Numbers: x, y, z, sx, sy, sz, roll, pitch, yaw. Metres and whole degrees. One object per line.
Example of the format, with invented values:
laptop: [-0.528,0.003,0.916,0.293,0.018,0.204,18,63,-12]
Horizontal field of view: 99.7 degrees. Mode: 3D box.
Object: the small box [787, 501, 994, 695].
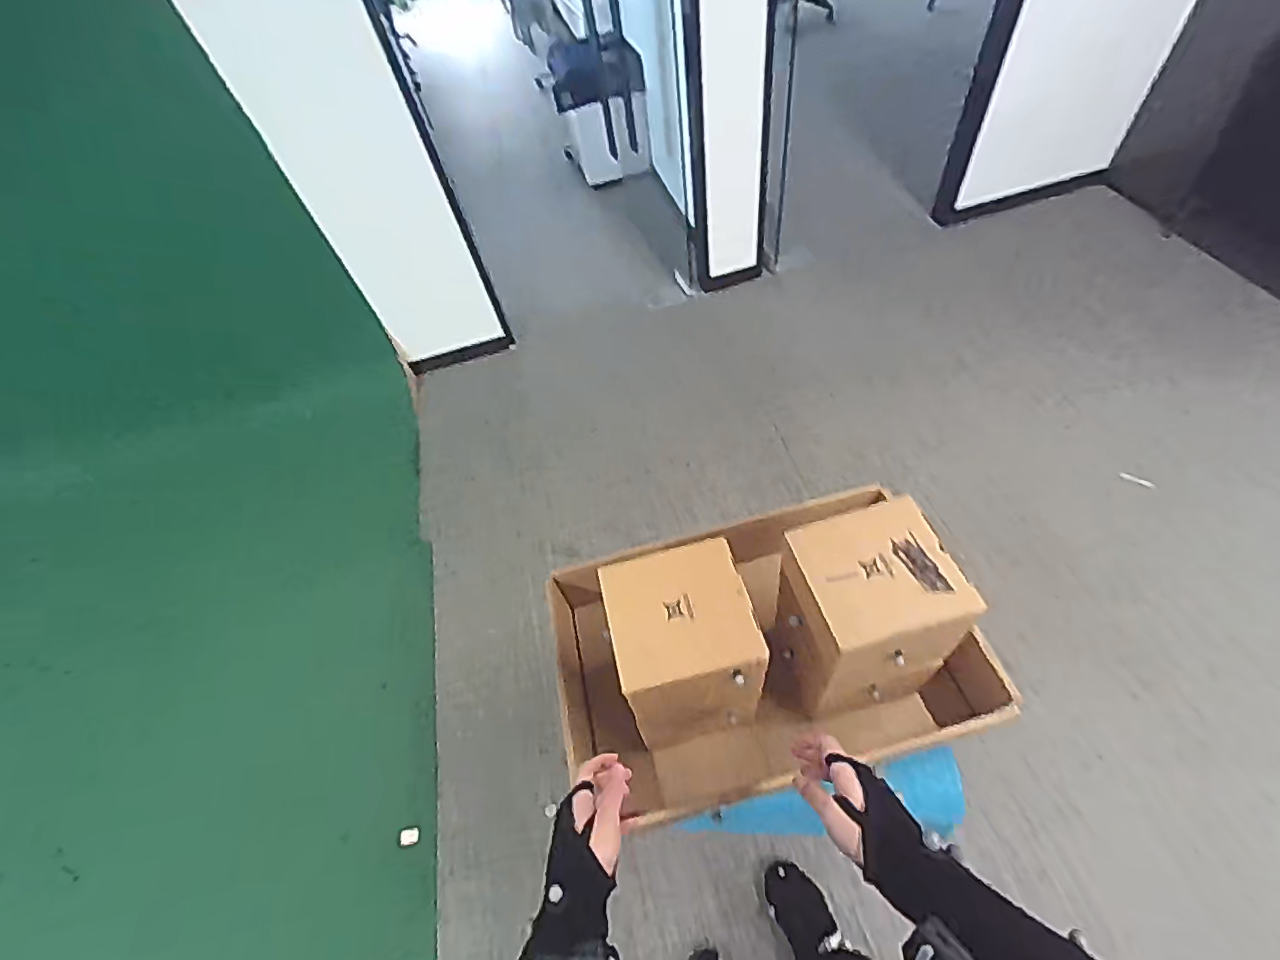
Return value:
small box: [0.304,0.158,0.703,0.179,0.176,0.168,-16,51,0]
